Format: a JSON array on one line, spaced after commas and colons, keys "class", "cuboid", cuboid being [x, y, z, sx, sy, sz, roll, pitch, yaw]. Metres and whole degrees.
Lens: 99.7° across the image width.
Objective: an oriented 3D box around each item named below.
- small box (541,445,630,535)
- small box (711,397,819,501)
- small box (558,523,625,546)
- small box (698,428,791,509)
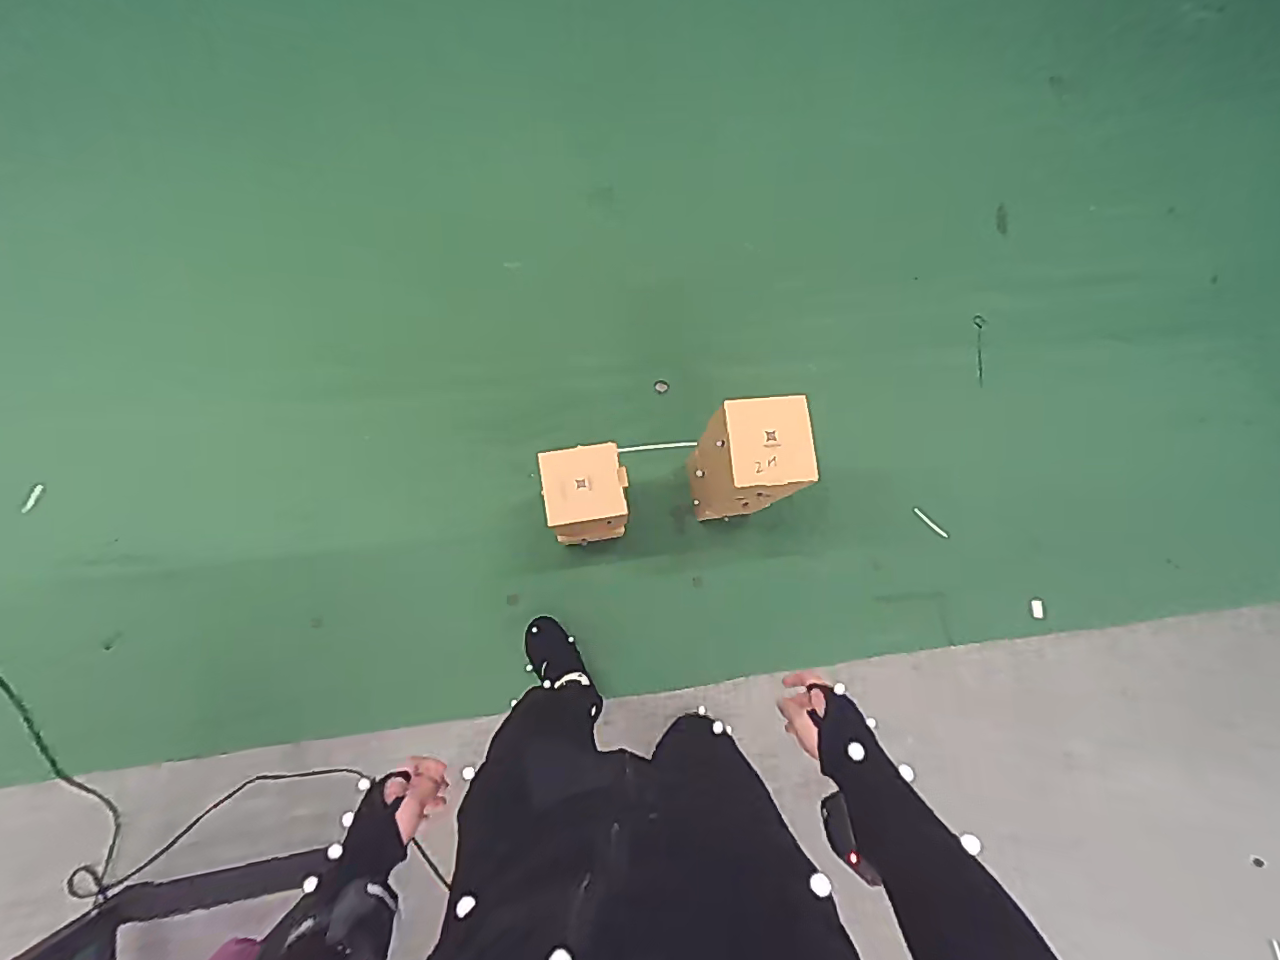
[{"class": "small box", "cuboid": [-0.124, 0.028, 1.243, 0.179, 0.176, 0.168, -9, 79, -5]}, {"class": "small box", "cuboid": [0.248, -0.058, 1.112, 0.168, 0.176, 0.179, -4, 81, -5]}, {"class": "small box", "cuboid": [-0.132, 0.074, 1.399, 0.168, 0.176, 0.179, -9, 79, -5]}, {"class": "small box", "cuboid": [0.240, -0.027, 1.274, 0.168, 0.176, 0.179, -5, 81, -6]}]
